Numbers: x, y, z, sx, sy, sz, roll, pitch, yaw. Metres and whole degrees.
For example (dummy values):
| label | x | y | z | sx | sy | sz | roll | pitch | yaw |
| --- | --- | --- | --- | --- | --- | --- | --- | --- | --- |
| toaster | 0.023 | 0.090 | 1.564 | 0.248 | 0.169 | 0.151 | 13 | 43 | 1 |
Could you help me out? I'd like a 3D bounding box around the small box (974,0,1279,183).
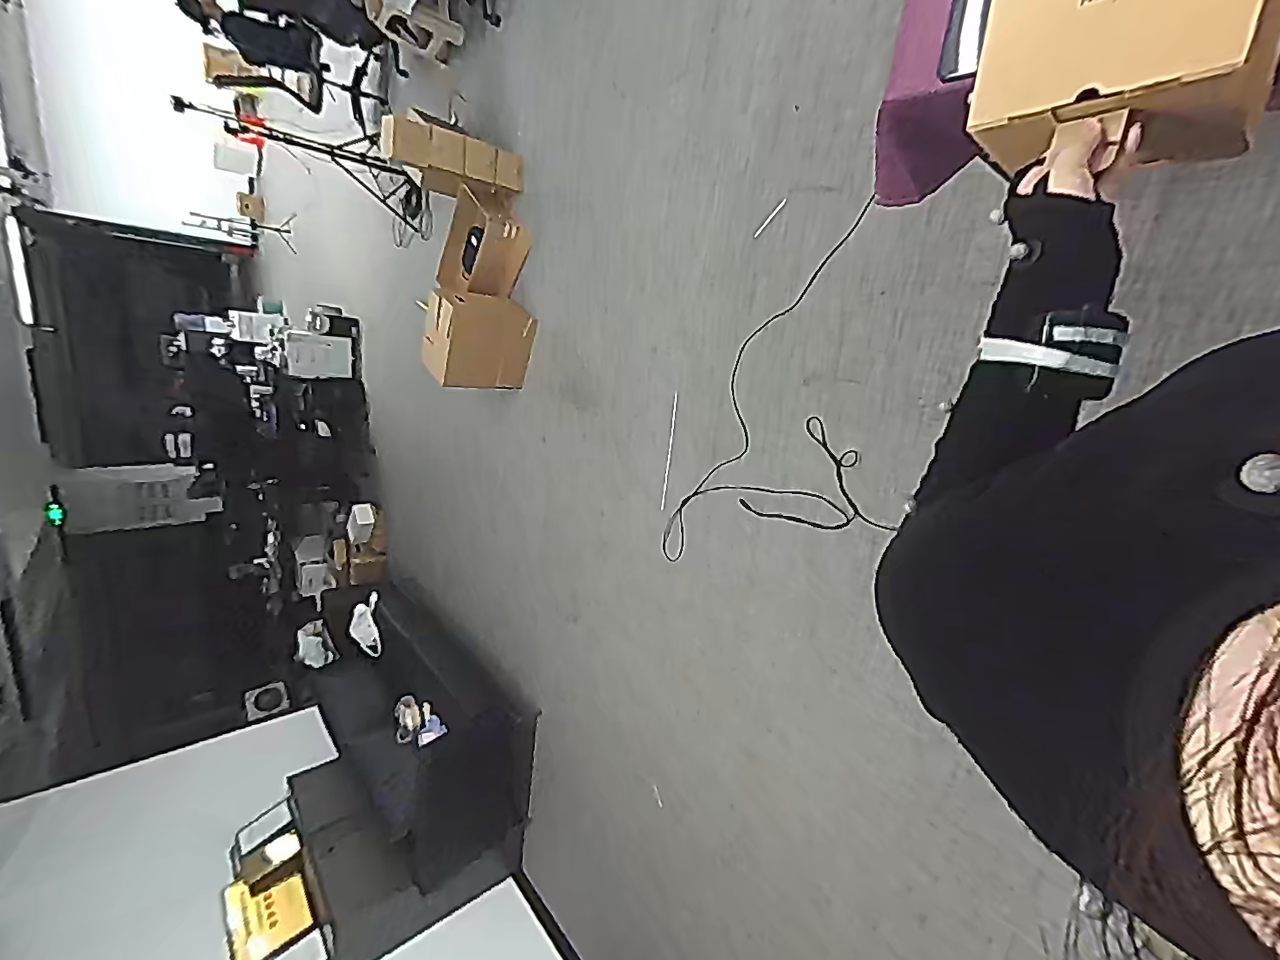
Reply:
| label | x | y | z | sx | sy | sz | roll | pitch | yaw |
| --- | --- | --- | --- | --- | --- | --- | --- | --- | --- |
| small box | 0.406 | -0.372 | 0.441 | 0.168 | 0.176 | 0.179 | 18 | 107 | 46 |
